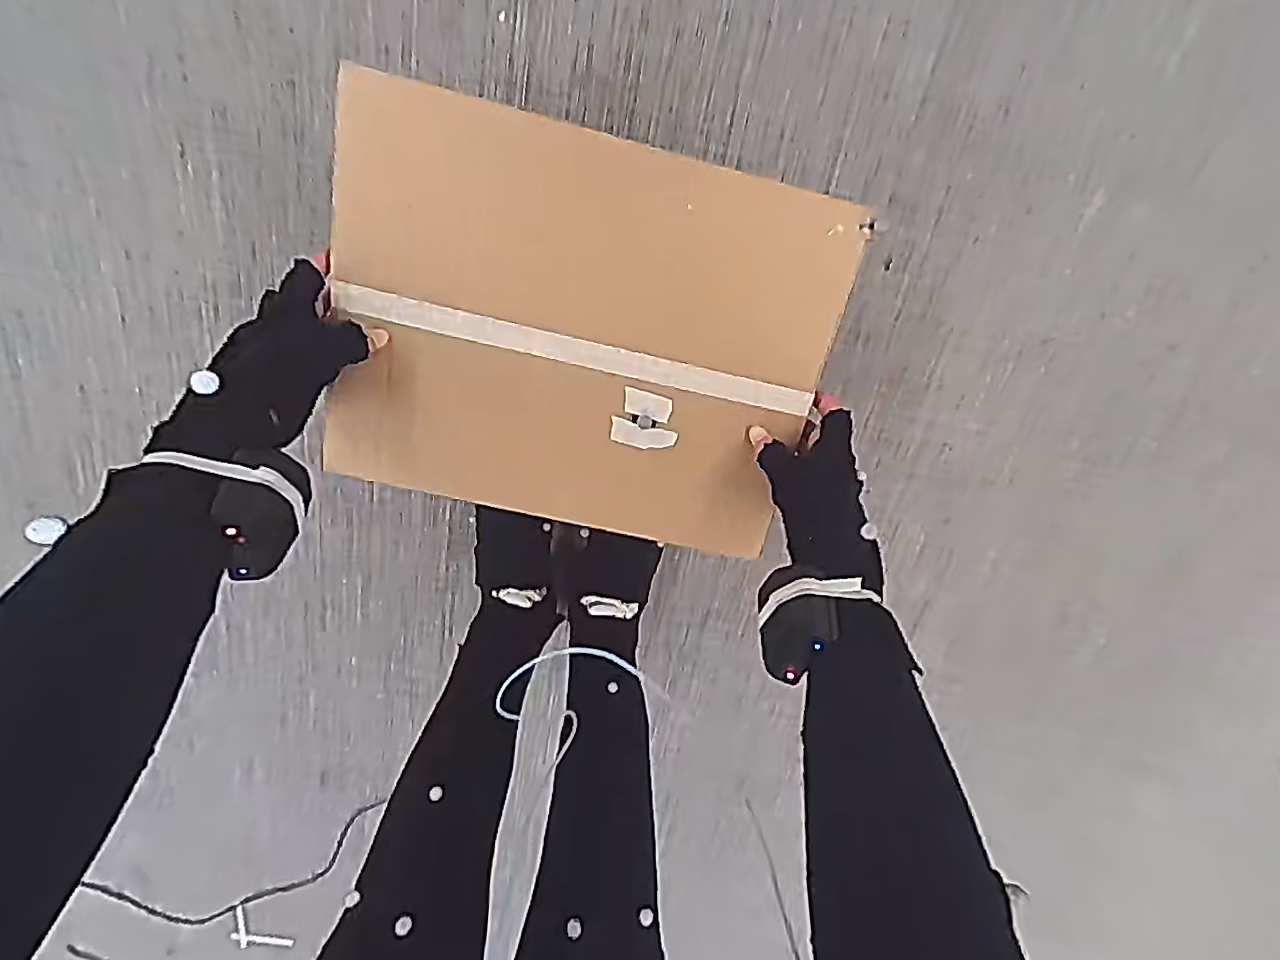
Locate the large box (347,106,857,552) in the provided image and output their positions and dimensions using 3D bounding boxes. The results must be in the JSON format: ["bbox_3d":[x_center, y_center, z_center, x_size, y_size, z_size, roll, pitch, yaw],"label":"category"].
[{"bbox_3d":[-0.052,-0.154,0.608,0.408,0.320,0.320,12,110,-6],"label":"large box"}]
